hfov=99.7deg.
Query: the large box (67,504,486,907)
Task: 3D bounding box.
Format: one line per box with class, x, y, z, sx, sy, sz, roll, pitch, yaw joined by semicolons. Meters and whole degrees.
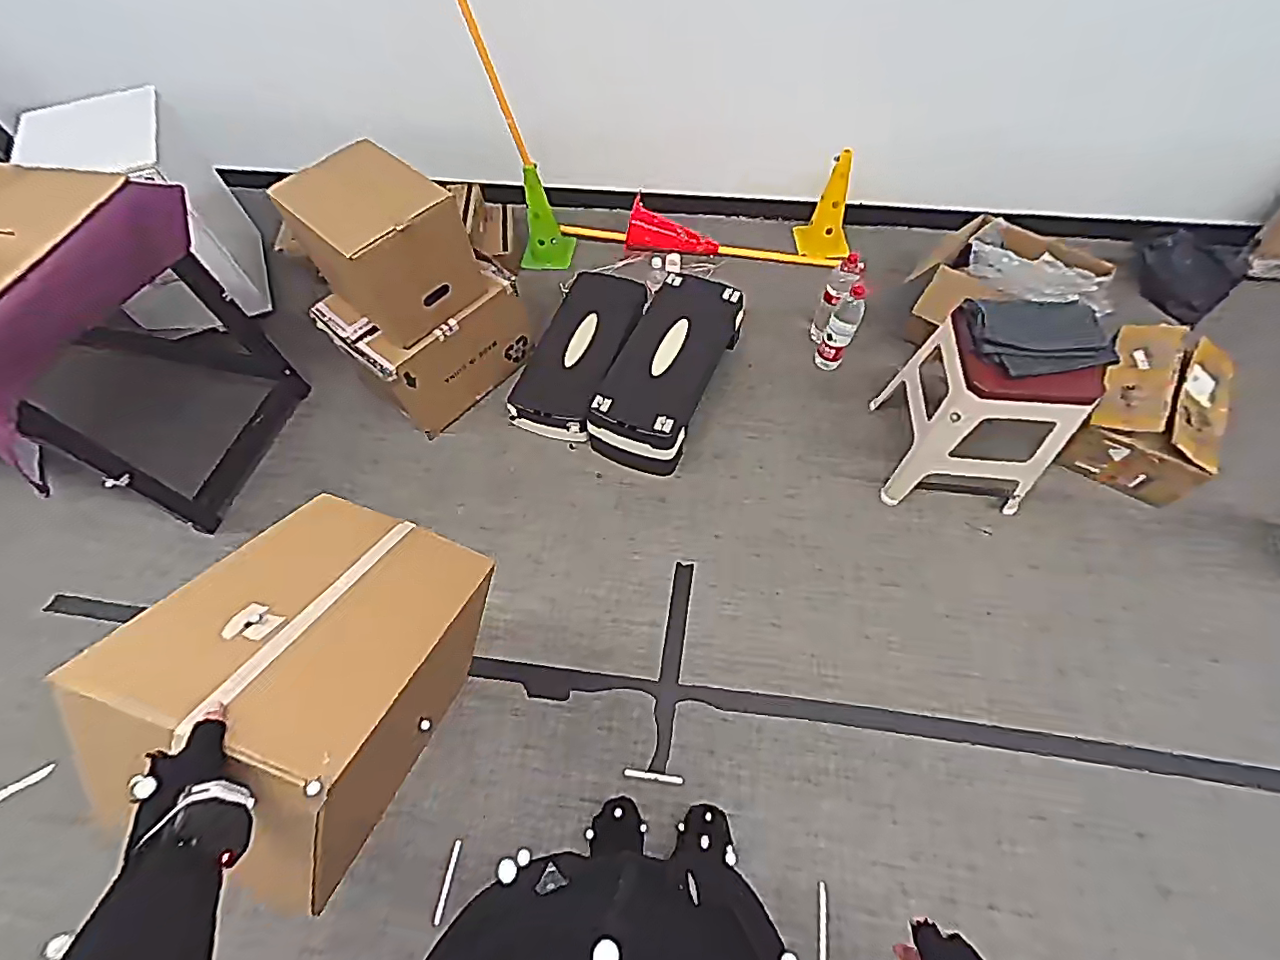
large box;-0.480;0.305;0.815;0.320;0.320;0.408;21;30;1
